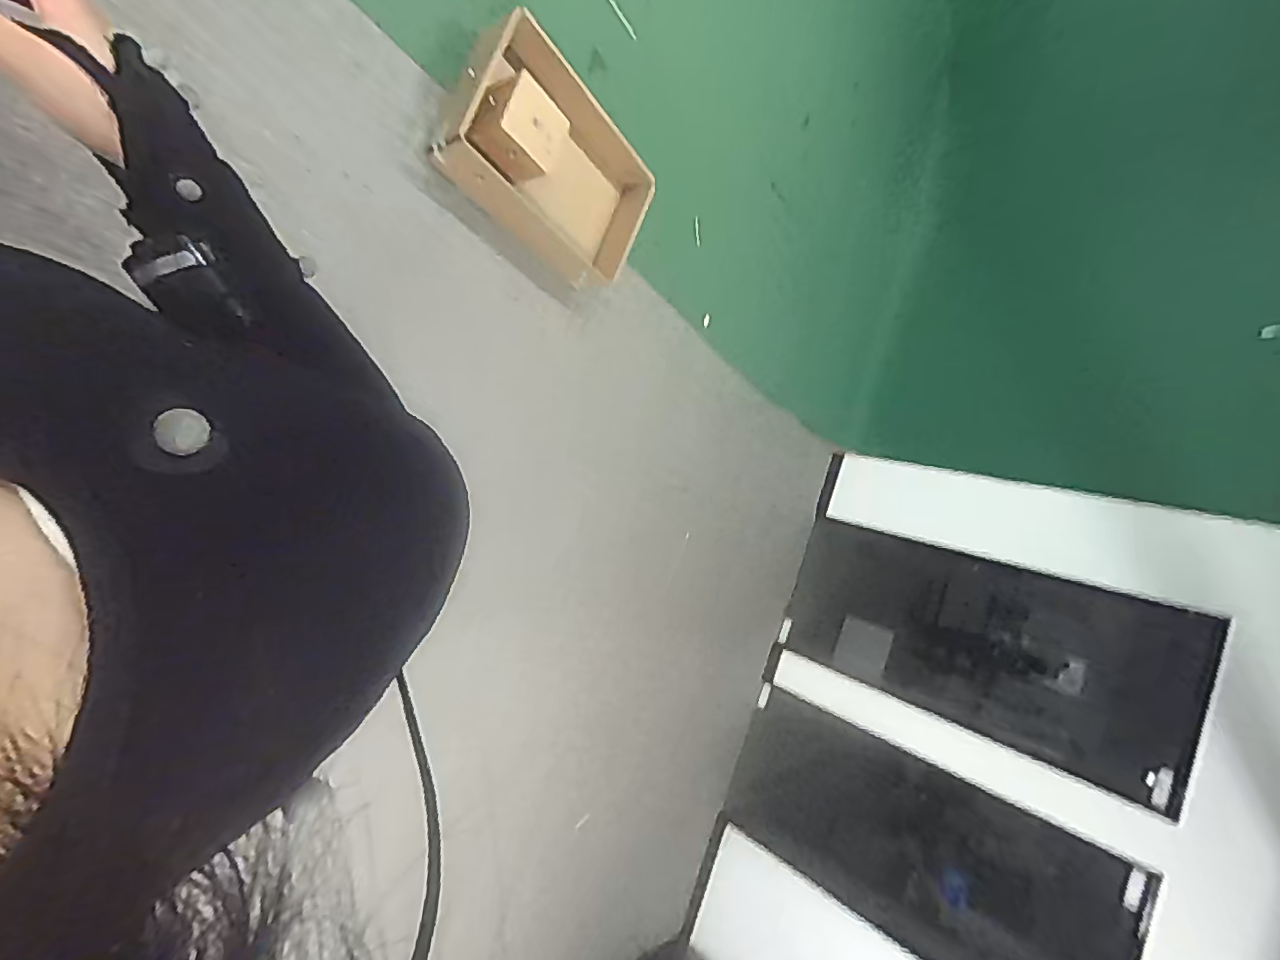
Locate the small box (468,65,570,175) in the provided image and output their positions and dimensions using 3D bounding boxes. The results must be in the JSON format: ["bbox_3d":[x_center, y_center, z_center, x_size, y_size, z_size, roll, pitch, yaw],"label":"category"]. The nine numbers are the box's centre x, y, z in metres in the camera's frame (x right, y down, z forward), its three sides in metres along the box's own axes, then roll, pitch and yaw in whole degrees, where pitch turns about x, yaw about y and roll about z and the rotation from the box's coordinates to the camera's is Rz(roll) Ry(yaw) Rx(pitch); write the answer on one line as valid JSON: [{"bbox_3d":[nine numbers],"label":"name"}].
[{"bbox_3d":[-0.326,-0.948,1.446,0.179,0.176,0.168,28,82,-51],"label":"small box"}]
